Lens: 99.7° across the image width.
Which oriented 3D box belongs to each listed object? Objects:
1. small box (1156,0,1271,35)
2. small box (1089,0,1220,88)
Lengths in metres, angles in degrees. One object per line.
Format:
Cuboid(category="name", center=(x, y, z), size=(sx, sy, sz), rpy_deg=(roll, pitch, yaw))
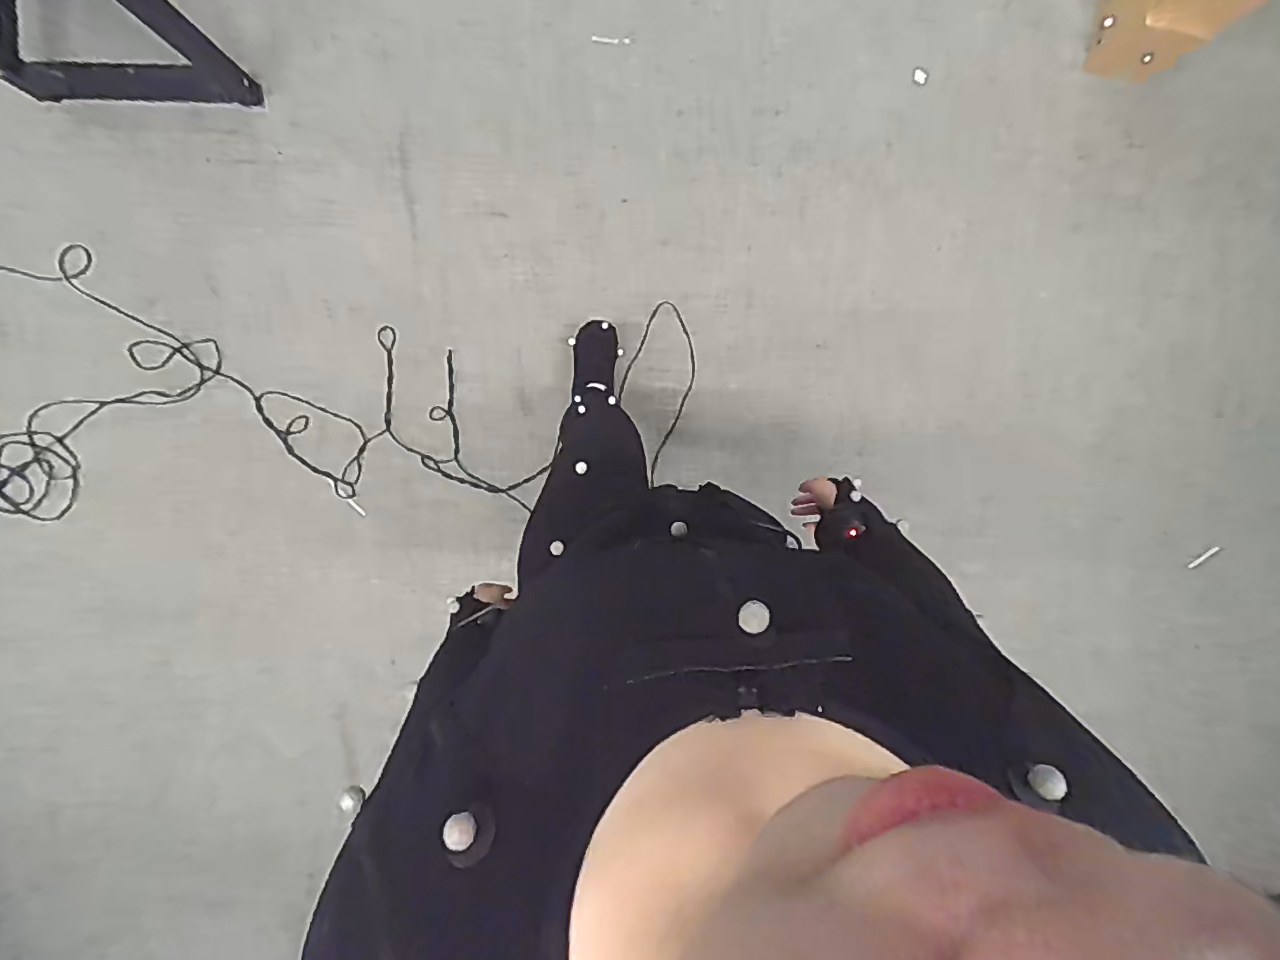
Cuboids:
Cuboid(category="small box", center=(1.275, -1.105, 1.152), size=(0.179, 0.176, 0.168), rpy_deg=(16, 94, -1))
Cuboid(category="small box", center=(1.261, -1.101, 1.316), size=(0.179, 0.176, 0.168), rpy_deg=(12, 94, -1))
